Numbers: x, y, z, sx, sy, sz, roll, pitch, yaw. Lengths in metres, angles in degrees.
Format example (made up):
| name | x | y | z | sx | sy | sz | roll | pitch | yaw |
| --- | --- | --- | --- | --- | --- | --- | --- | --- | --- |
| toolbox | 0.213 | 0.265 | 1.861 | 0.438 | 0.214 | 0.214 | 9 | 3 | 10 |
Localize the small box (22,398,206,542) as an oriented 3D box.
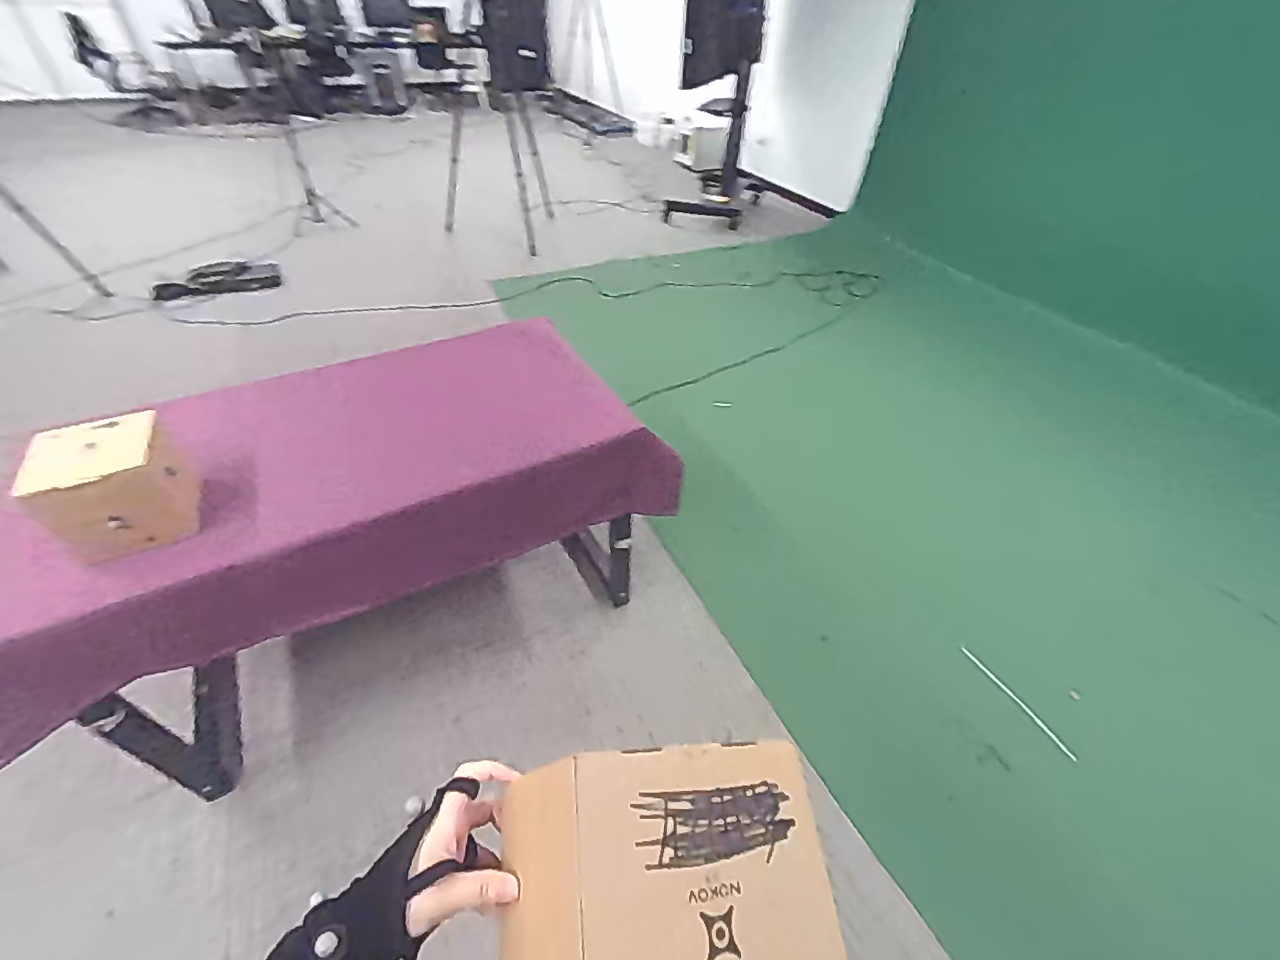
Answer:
| name | x | y | z | sx | sy | sz | roll | pitch | yaw |
| --- | --- | --- | --- | --- | --- | --- | --- | --- | --- |
| small box | -0.897 | -0.012 | 0.945 | 0.168 | 0.176 | 0.179 | -17 | 48 | -22 |
